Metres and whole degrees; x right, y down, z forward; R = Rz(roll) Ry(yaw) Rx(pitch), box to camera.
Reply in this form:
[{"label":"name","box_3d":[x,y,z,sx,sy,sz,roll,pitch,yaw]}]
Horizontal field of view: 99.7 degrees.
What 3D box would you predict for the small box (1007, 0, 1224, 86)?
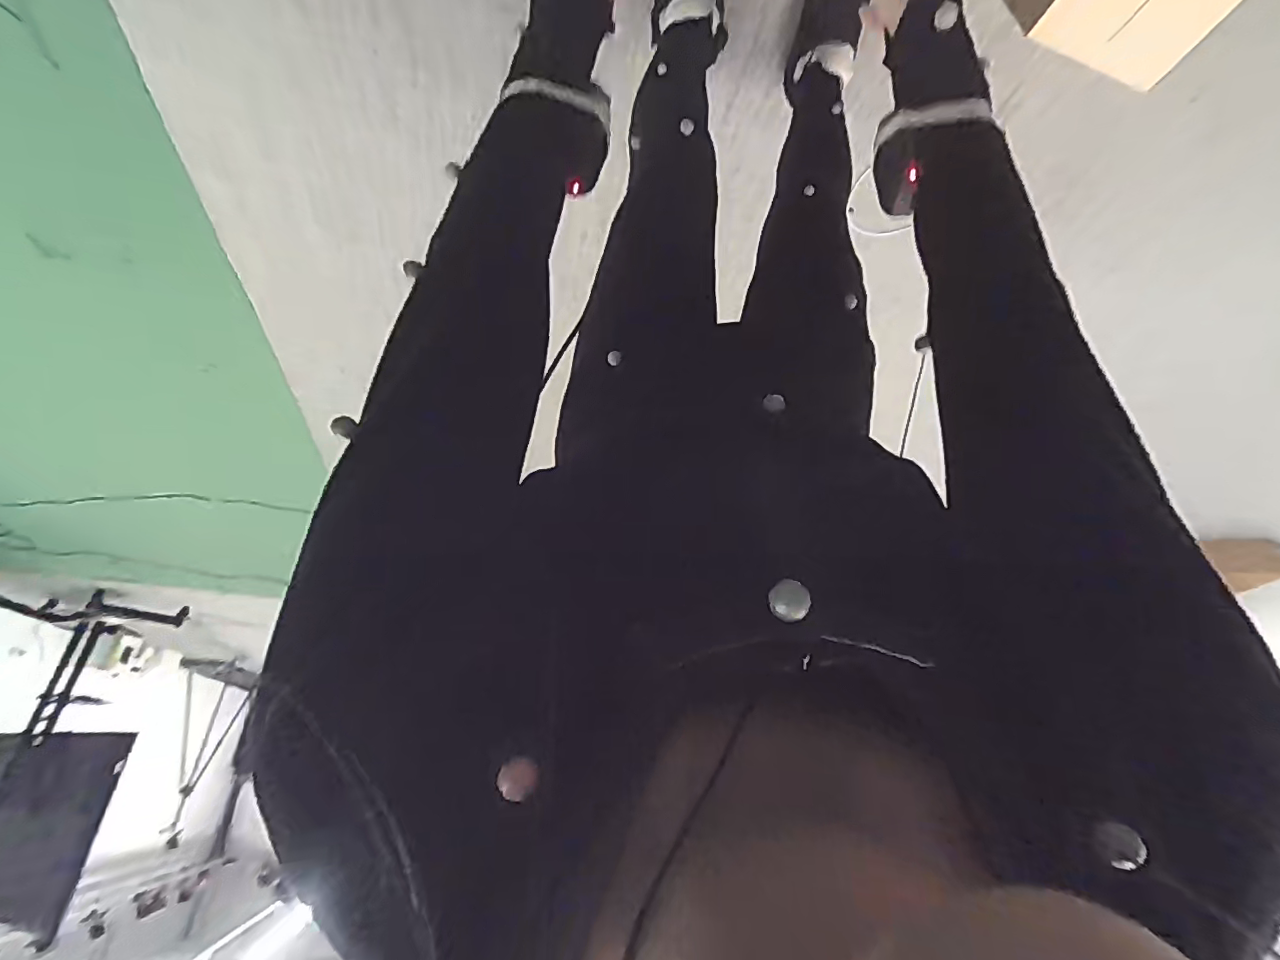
[{"label":"small box","box_3d":[0.482,-0.546,0.528,0.168,0.176,0.179,10,150,-14]}]
